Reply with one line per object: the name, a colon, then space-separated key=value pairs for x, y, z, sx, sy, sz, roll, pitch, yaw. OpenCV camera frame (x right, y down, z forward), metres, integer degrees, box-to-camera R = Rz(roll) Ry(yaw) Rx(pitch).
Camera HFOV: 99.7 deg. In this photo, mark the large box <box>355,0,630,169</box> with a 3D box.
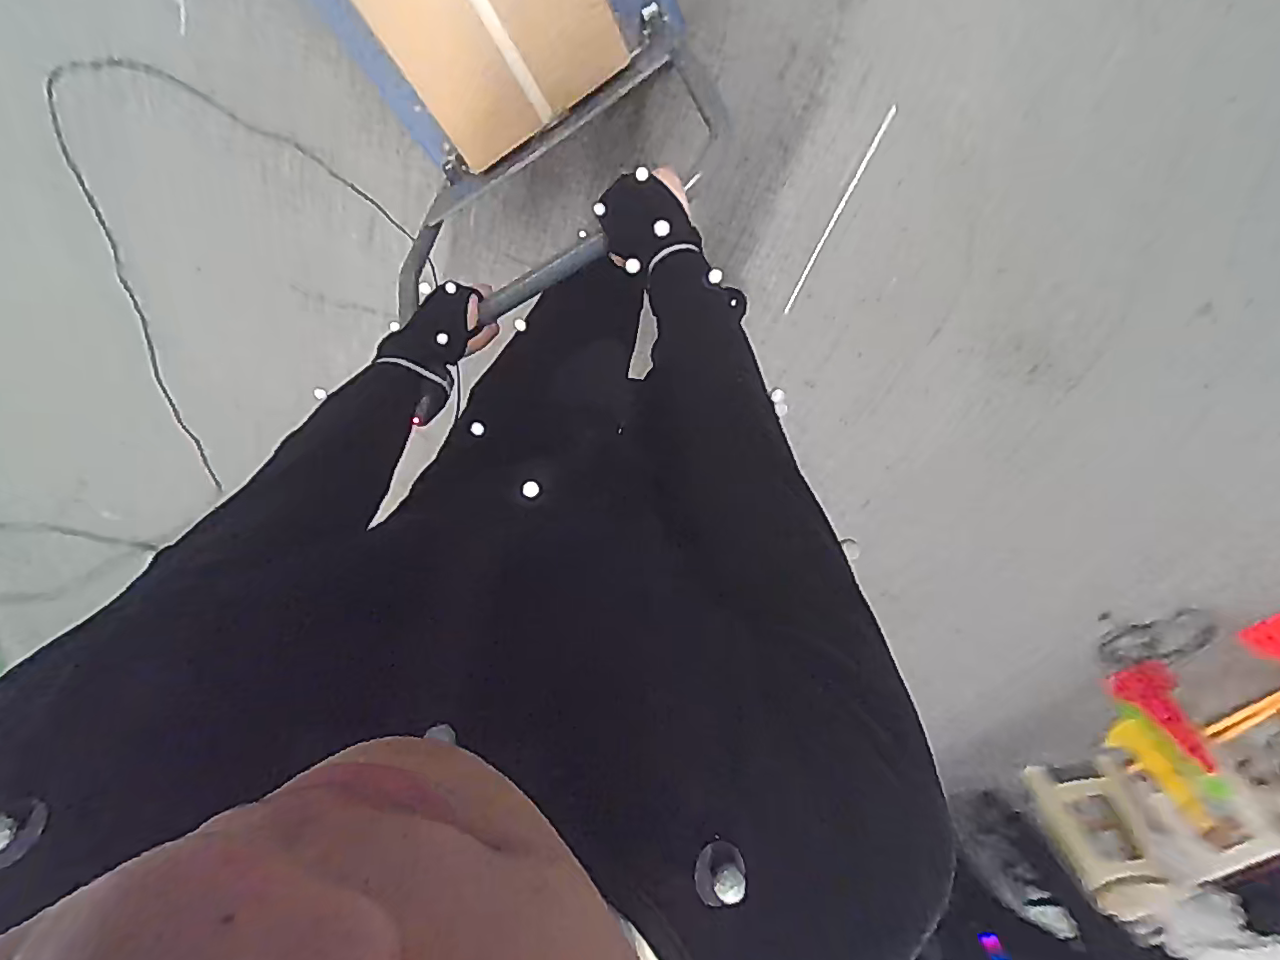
large box: x=-0.247 y=-0.806 z=0.861 sx=0.320 sy=0.320 sz=0.408 roll=-25 pitch=129 yaw=18
